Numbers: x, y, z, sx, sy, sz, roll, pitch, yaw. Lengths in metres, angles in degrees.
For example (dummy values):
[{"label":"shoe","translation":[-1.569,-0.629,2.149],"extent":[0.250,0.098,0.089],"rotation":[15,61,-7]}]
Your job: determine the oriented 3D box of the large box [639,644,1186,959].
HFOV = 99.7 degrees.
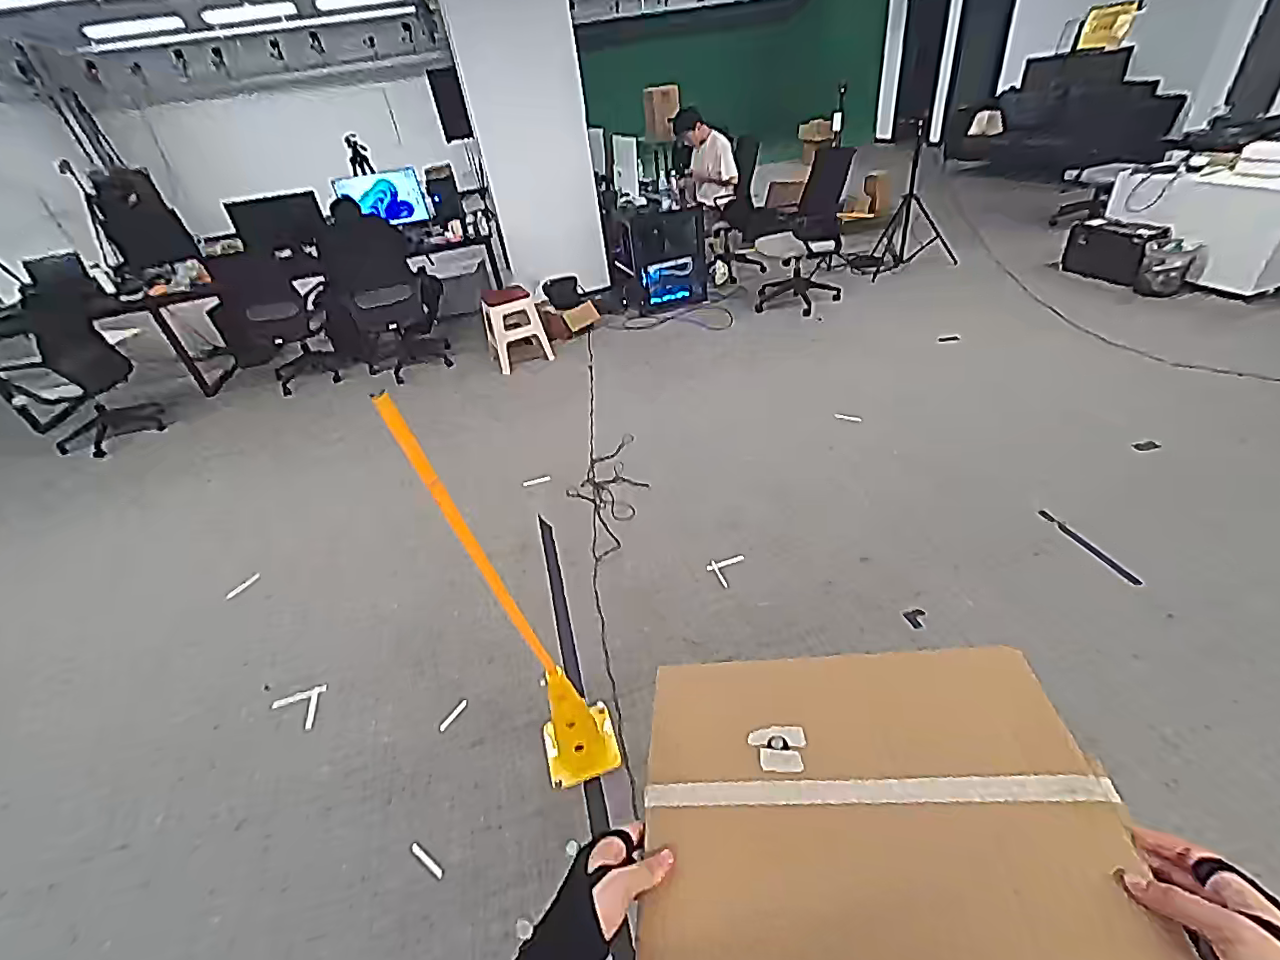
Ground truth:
[{"label":"large box","translation":[0.239,0.420,0.595],"extent":[0.408,0.320,0.320],"rotation":[-9,31,12]}]
